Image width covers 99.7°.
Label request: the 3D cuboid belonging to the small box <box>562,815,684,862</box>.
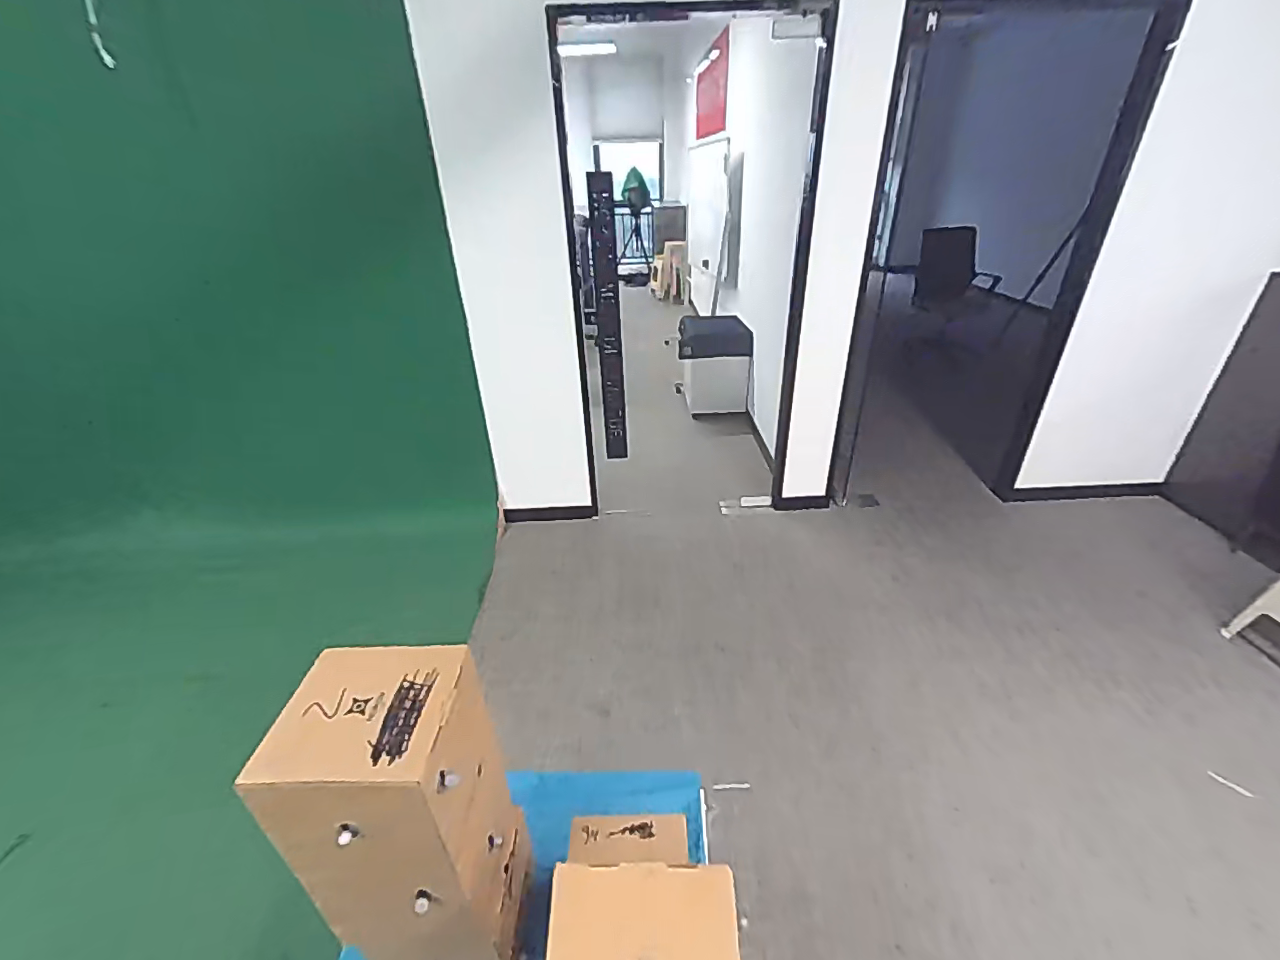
[{"bbox_3d":[-0.020,0.589,0.732,0.168,0.176,0.179,-1,30,1],"label":"small box"}]

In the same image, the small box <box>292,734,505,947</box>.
[{"bbox_3d":[-0.276,0.442,0.671,0.179,0.176,0.168,-1,29,1],"label":"small box"}]

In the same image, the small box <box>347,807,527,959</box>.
[{"bbox_3d":[-0.263,0.585,0.752,0.179,0.176,0.168,-2,29,1],"label":"small box"}]

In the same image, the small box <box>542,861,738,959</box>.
[{"bbox_3d":[0.000,0.467,0.489,0.168,0.176,0.179,0,44,0],"label":"small box"}]
